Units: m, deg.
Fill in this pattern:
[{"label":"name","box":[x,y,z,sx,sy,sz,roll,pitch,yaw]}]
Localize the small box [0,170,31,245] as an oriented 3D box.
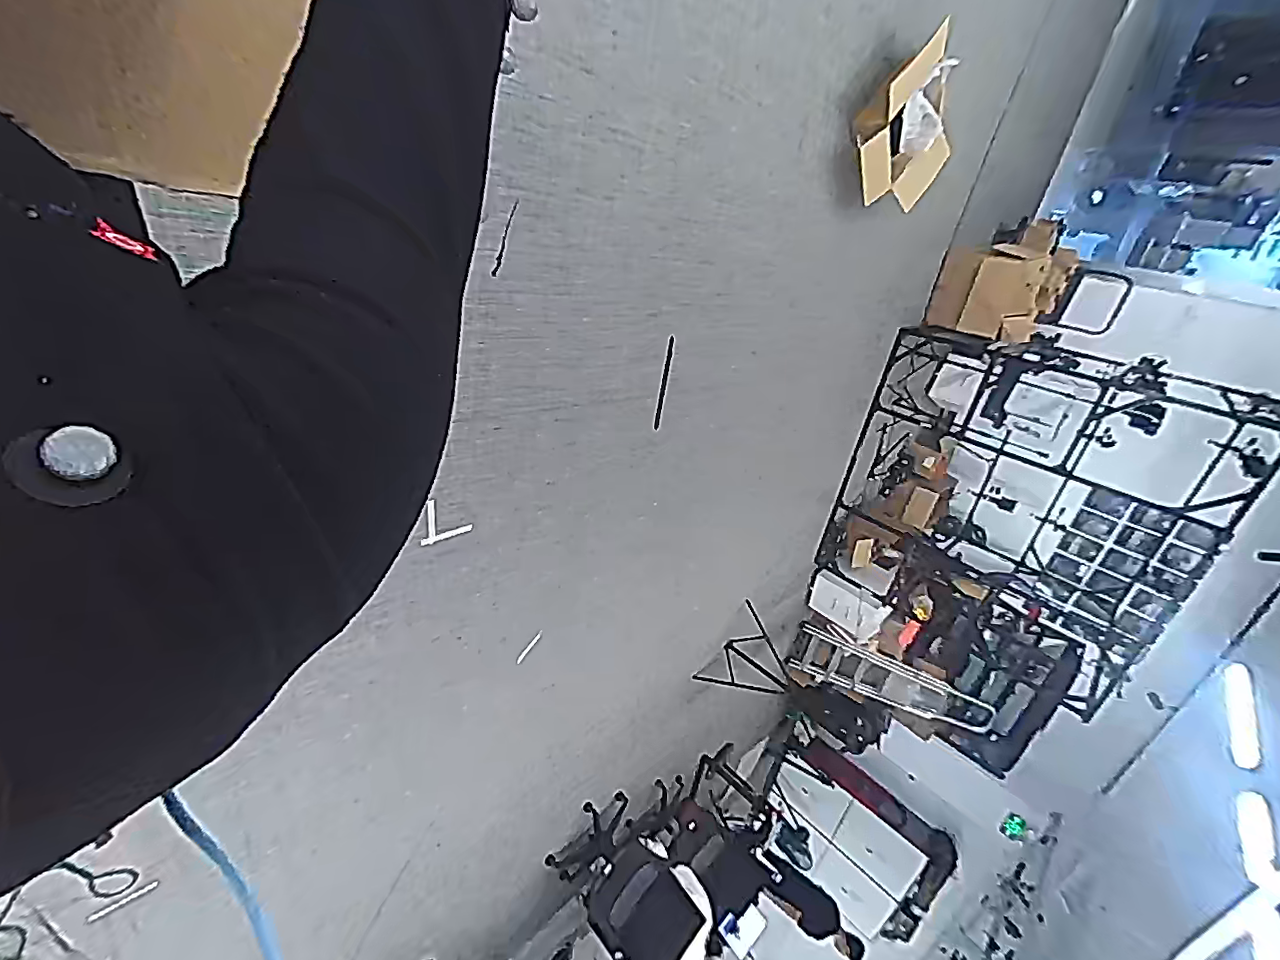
[{"label":"small box","box":[-1.020,-0.415,0.739,0.168,0.176,0.179,-54,130,-44]}]
